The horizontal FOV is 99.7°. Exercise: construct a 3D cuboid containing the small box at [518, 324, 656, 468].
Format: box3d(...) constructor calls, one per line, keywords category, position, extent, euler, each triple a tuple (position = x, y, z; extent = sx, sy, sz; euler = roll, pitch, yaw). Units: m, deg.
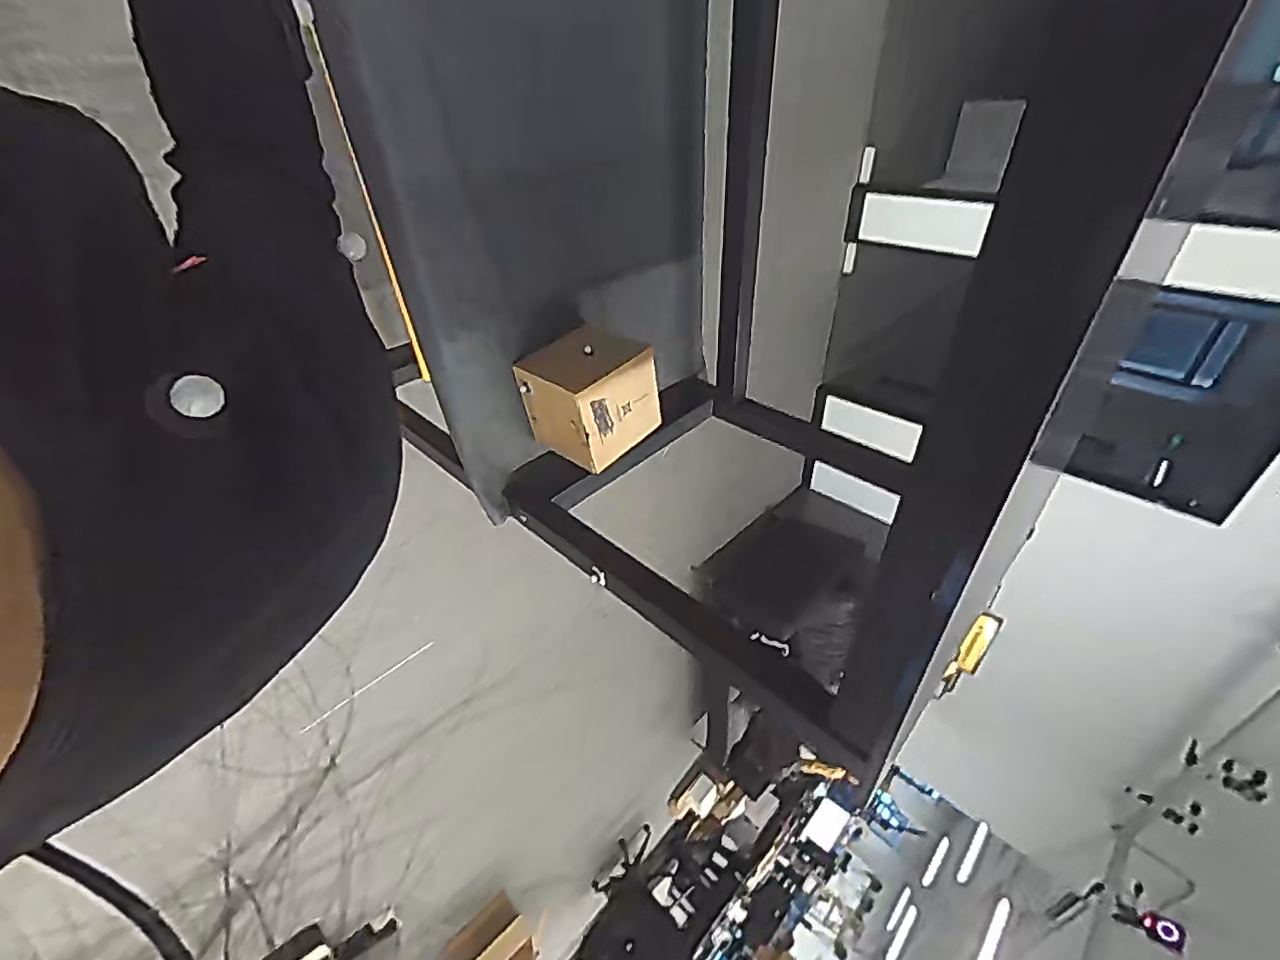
box3d(category="small box", position=(-0.097, -0.155, 0.962), extent=(0.179, 0.176, 0.168), euler=(-39, 139, -30))
